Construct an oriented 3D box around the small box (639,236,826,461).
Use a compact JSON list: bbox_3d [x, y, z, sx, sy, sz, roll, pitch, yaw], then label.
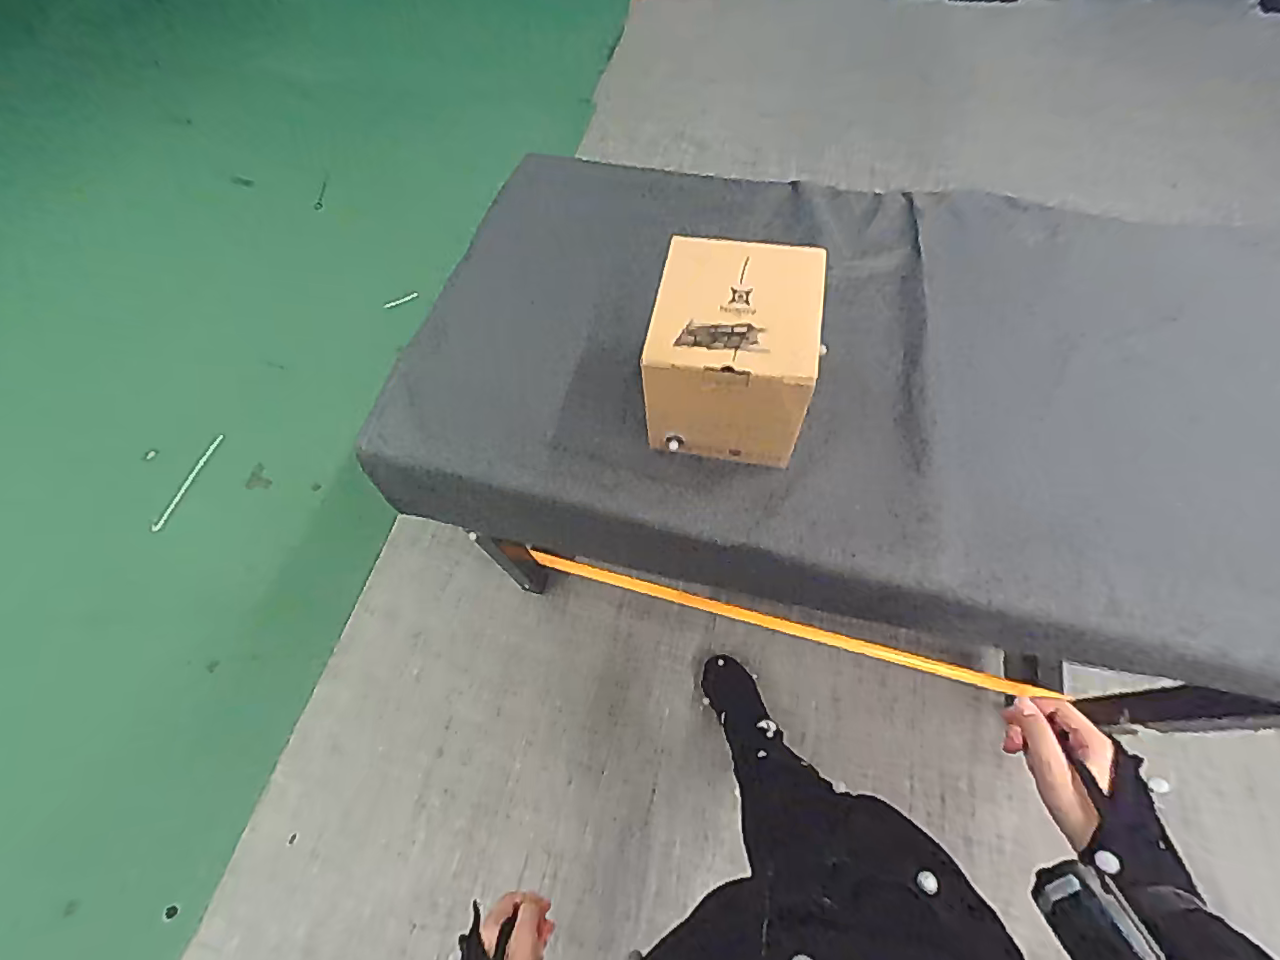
[{"bbox_3d":[0.102,-0.140,0.608,0.168,0.176,0.179,9,64,9],"label":"small box"}]
